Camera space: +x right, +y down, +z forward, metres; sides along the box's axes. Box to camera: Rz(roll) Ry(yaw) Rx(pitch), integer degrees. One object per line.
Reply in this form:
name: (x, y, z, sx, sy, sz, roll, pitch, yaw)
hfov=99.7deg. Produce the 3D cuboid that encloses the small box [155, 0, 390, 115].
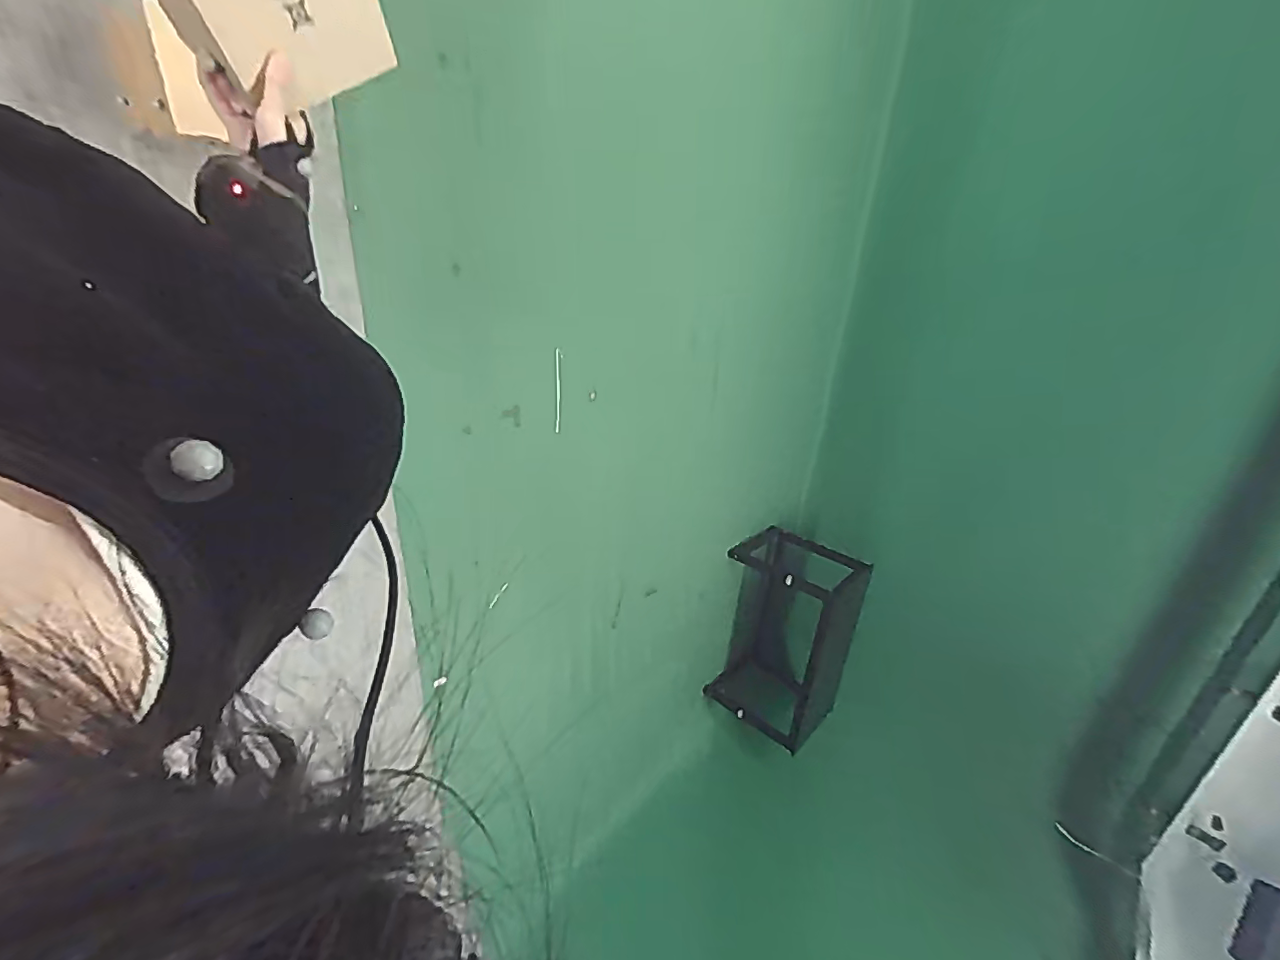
small box: (-0.385, -0.512, 0.519, 0.168, 0.176, 0.179, -42, 169, -18)

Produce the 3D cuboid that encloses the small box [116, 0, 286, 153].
small box: (-0.732, -0.661, 0.905, 0.168, 0.176, 0.179, -23, 127, -44)
